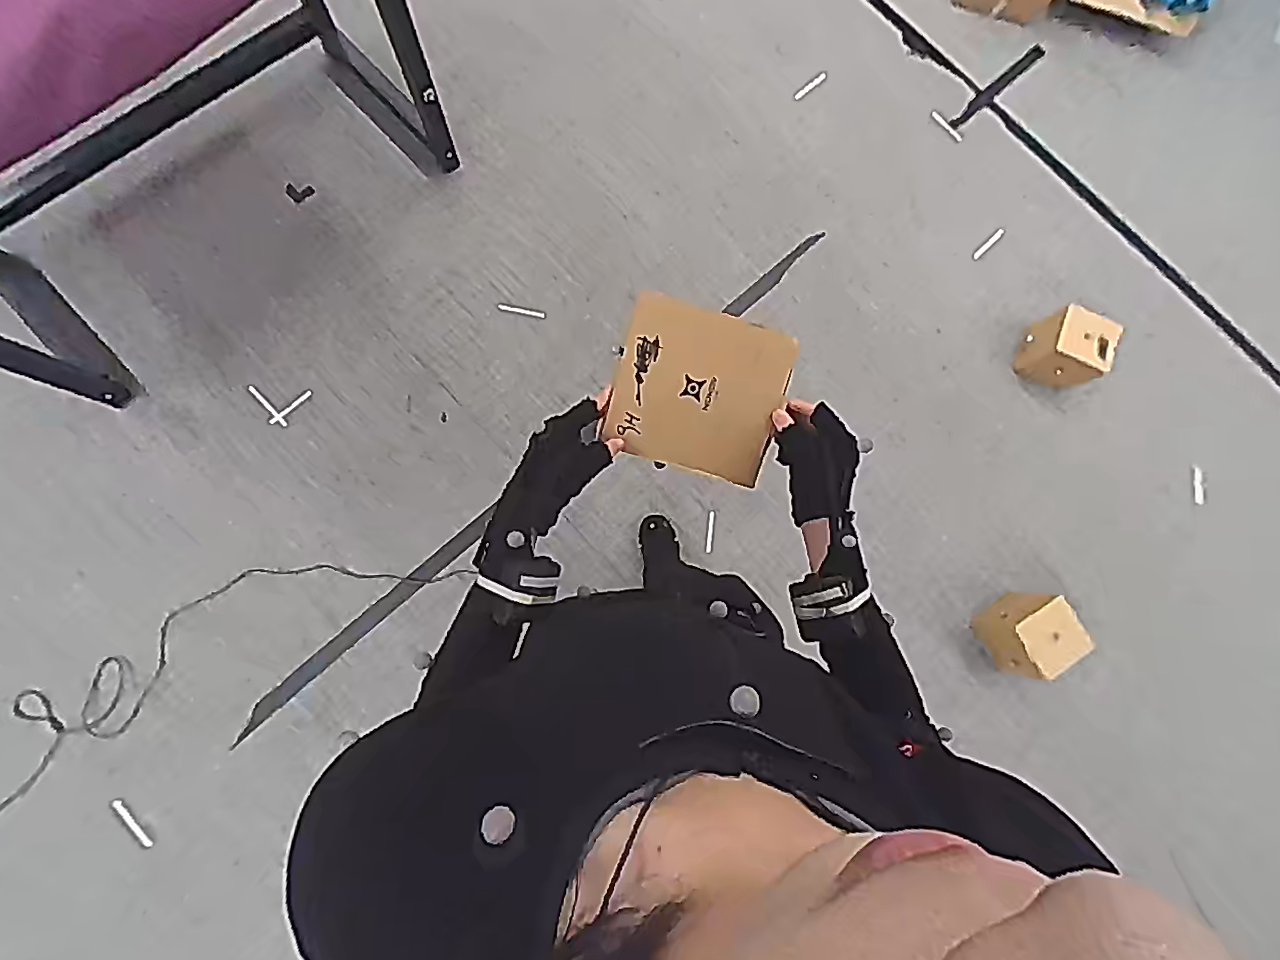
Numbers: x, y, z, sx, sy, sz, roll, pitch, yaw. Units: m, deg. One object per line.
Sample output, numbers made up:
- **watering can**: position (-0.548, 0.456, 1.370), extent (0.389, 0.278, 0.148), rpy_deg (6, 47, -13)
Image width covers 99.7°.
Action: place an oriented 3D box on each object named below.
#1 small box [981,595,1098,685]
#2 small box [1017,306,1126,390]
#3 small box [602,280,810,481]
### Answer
- **small box**: position (1.092, 0.436, 1.500), extent (0.179, 0.176, 0.168), rpy_deg (-30, 85, -10)
- **small box**: position (1.314, -0.394, 1.656), extent (0.179, 0.176, 0.168), rpy_deg (25, 79, 1)
- **small box**: position (0.061, -0.110, 0.624), extent (0.179, 0.176, 0.168), rpy_deg (15, 97, -7)
